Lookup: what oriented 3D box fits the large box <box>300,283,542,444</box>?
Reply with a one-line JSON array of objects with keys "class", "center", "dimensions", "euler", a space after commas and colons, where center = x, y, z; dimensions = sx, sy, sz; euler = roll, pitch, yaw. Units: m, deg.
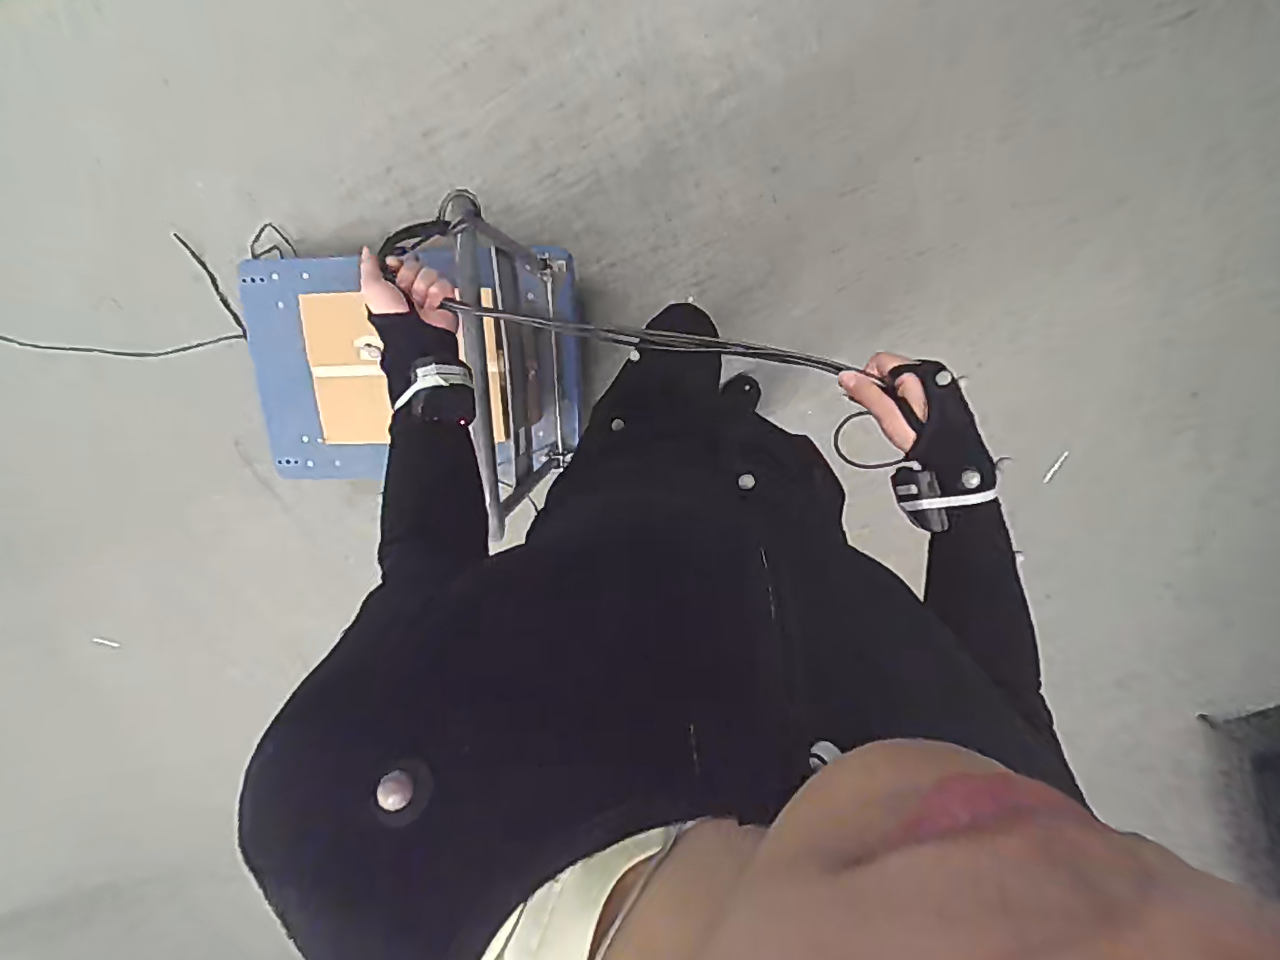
[{"class": "large box", "center": [-0.471, -0.268, 1.252], "dimensions": [0.408, 0.320, 0.320], "euler": [-1, 104, 5]}]
